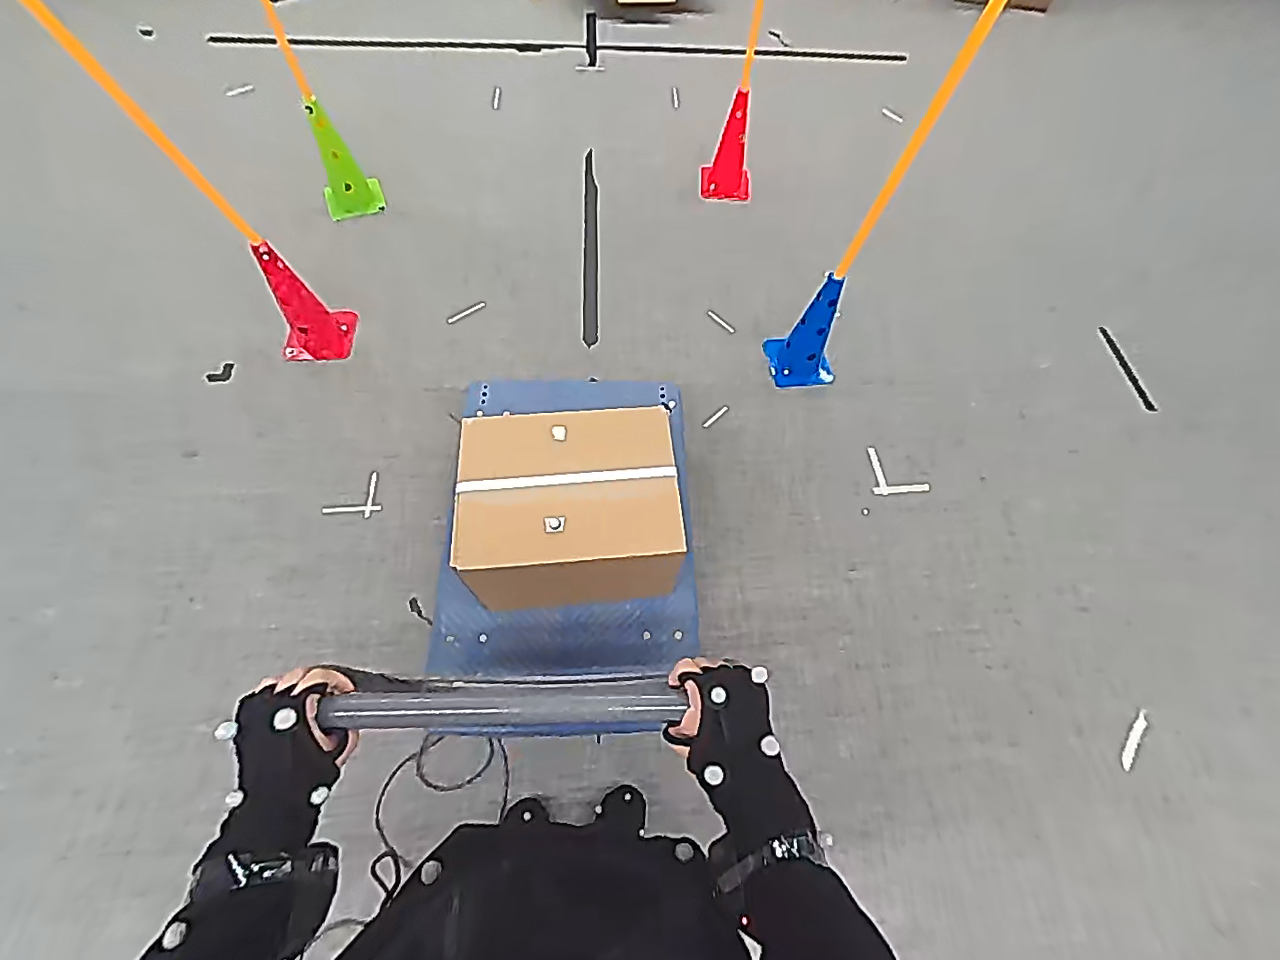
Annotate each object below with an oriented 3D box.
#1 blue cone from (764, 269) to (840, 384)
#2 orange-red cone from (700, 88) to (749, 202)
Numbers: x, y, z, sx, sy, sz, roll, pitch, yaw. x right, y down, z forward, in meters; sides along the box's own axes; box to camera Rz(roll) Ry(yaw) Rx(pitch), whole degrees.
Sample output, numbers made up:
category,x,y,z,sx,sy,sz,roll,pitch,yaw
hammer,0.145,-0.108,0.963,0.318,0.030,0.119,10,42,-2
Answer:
category,x,y,z,sx,sy,sz,roll,pitch,yaw
blue cone,0.530,-0.474,1.653,0.193,0.380,0.192,-5,62,-6
orange-red cone,0.356,-1.279,2.043,0.199,0.360,0.198,5,63,-2
